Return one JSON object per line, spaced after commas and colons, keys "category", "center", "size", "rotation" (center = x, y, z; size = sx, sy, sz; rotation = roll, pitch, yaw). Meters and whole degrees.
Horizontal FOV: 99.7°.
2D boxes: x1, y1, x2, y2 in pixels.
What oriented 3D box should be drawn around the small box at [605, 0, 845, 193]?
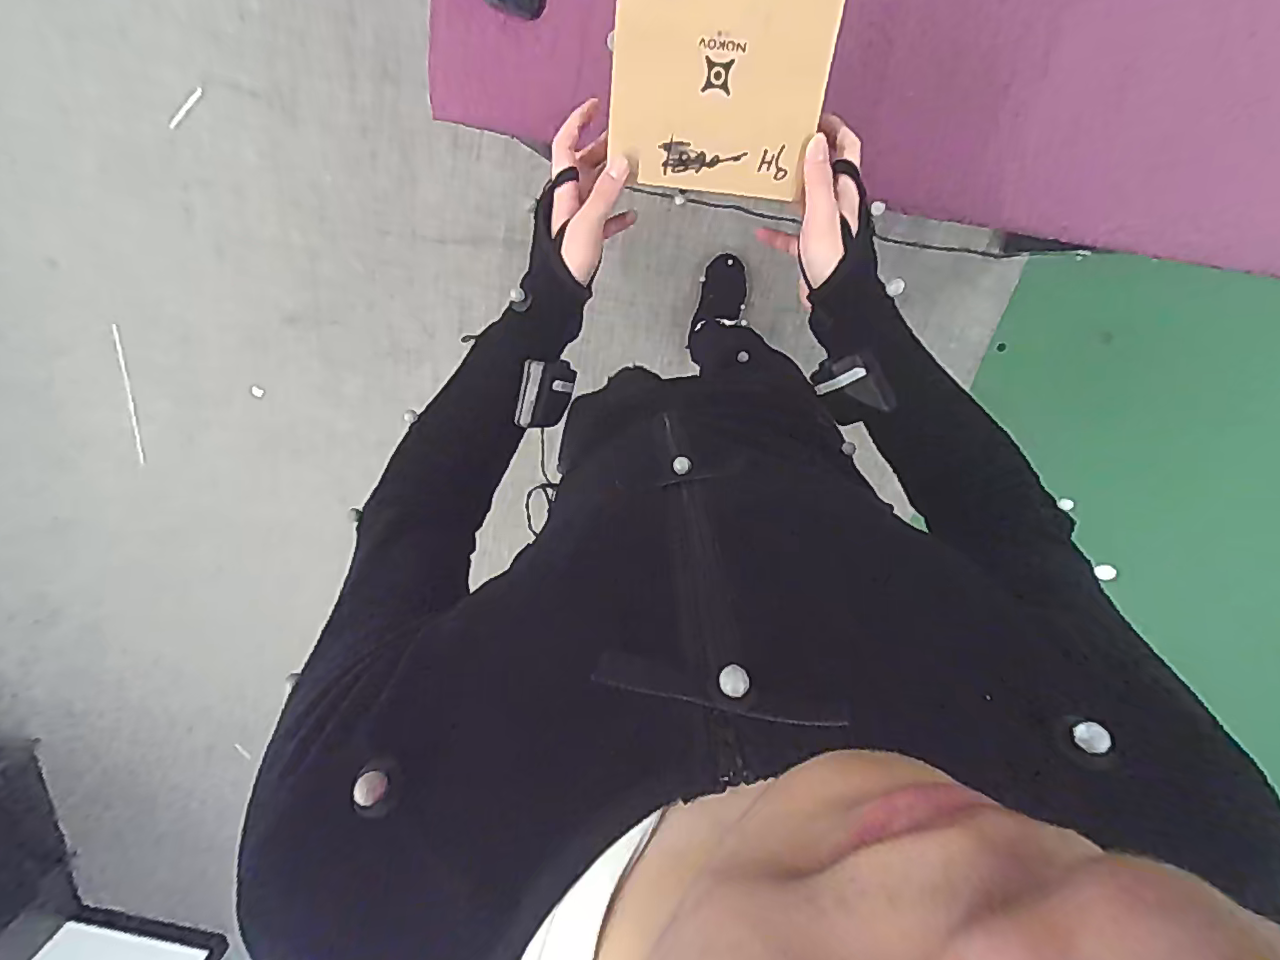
{"category": "small box", "center": [0.065, -0.359, 0.472], "size": [0.168, 0.176, 0.179], "rotation": [7, 119, 0]}
